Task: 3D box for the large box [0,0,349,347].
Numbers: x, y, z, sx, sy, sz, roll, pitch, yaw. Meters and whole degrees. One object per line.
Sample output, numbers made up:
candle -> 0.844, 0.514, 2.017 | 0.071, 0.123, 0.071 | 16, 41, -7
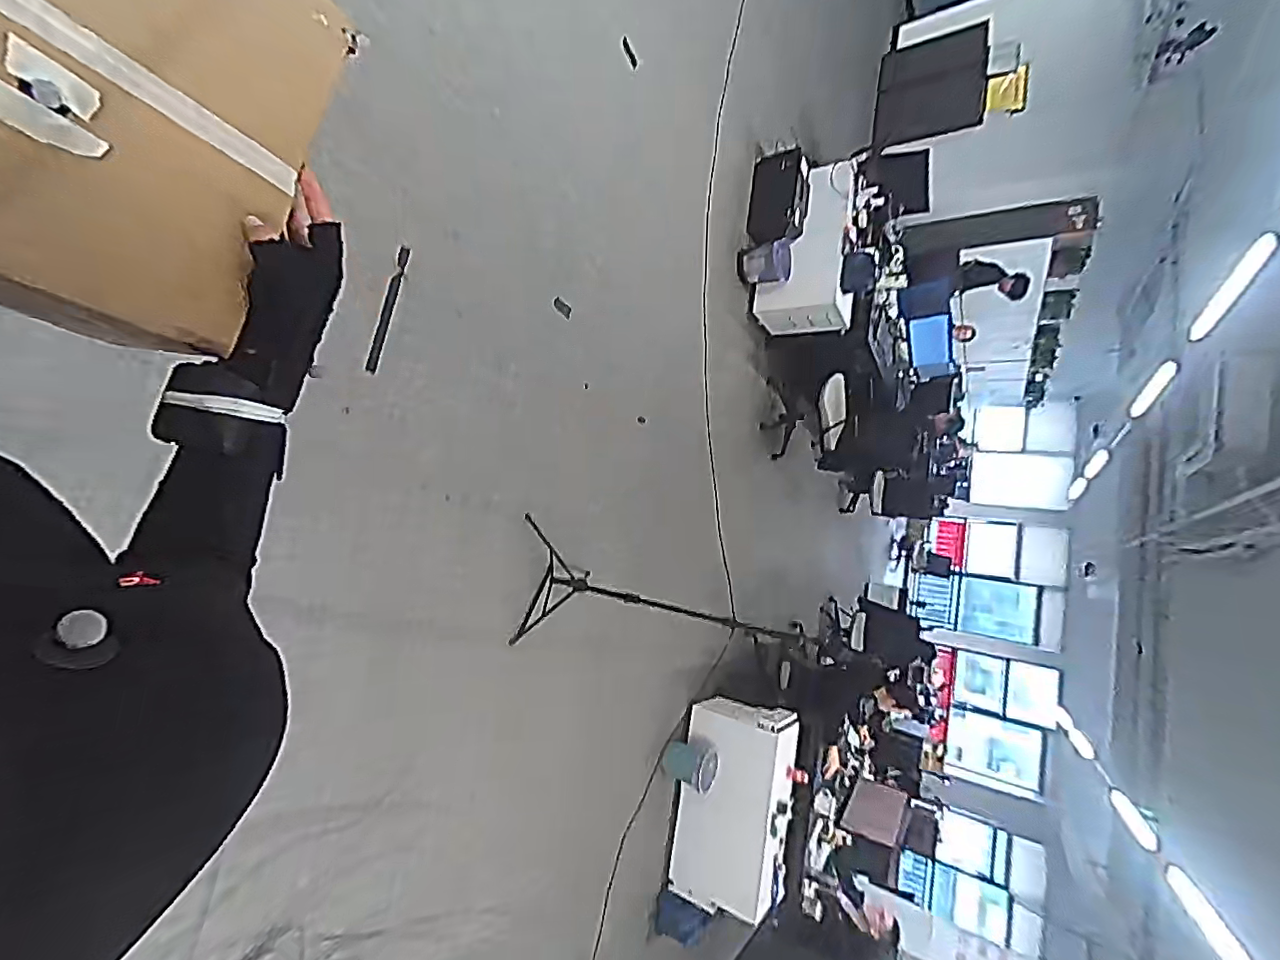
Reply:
large box -> -0.523, -0.324, 0.387 | 0.408, 0.320, 0.320 | 26, 79, -55
